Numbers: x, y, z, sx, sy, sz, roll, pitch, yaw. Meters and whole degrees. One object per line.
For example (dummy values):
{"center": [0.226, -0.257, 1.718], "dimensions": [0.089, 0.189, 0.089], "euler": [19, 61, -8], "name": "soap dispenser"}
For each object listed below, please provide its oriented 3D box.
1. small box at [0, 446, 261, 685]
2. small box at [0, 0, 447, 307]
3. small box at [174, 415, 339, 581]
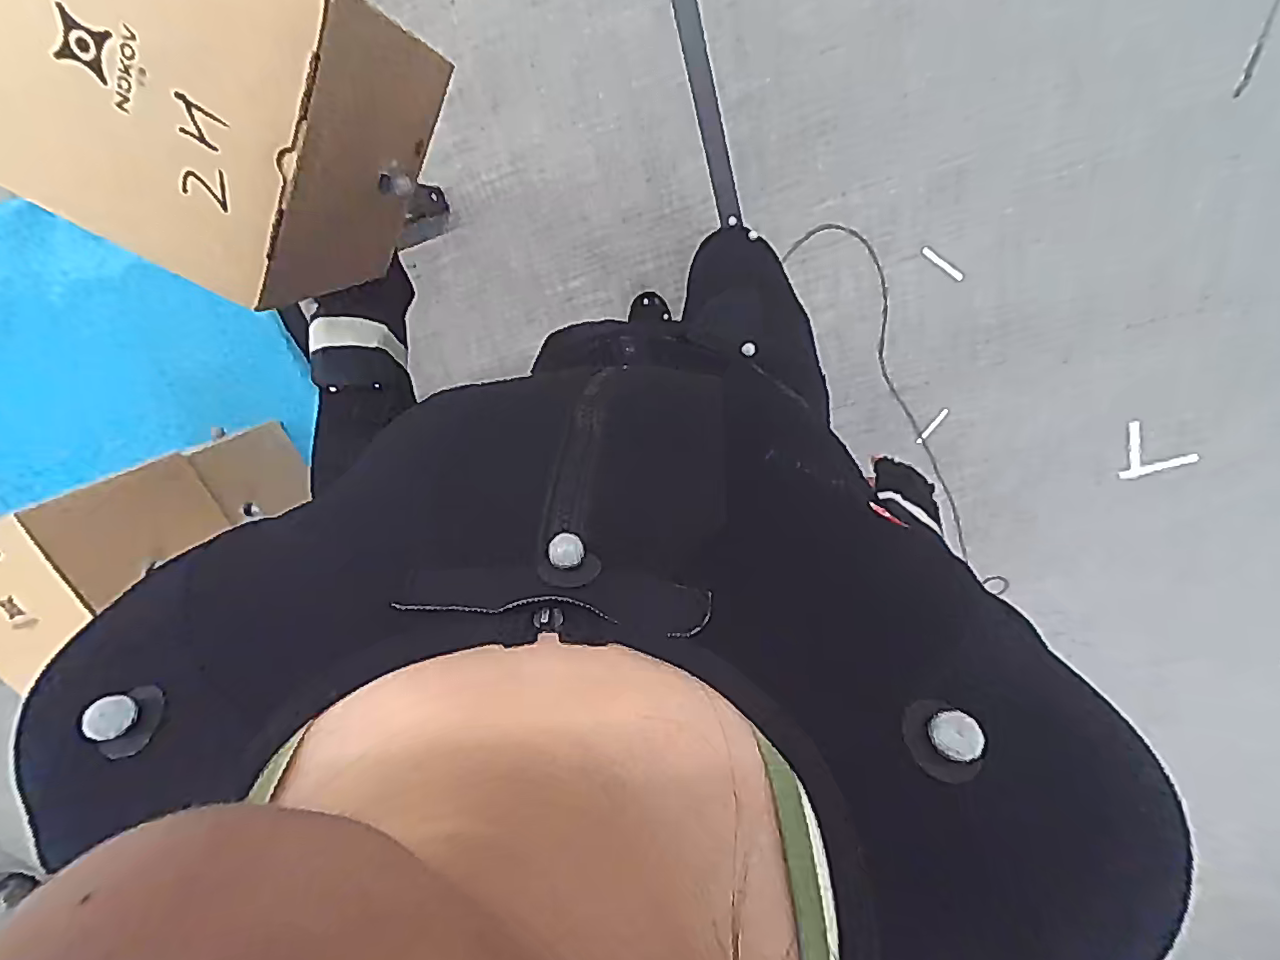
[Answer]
{"center": [-0.578, 0.087, 0.595], "dimensions": [0.168, 0.176, 0.179], "euler": [-18, 109, 14], "name": "small box"}
{"center": [-0.248, -0.235, 0.324], "dimensions": [0.179, 0.176, 0.168], "euler": [30, 116, -16], "name": "small box"}
{"center": [-0.564, 0.031, 0.747], "dimensions": [0.168, 0.176, 0.179], "euler": [-15, 111, 12], "name": "small box"}
